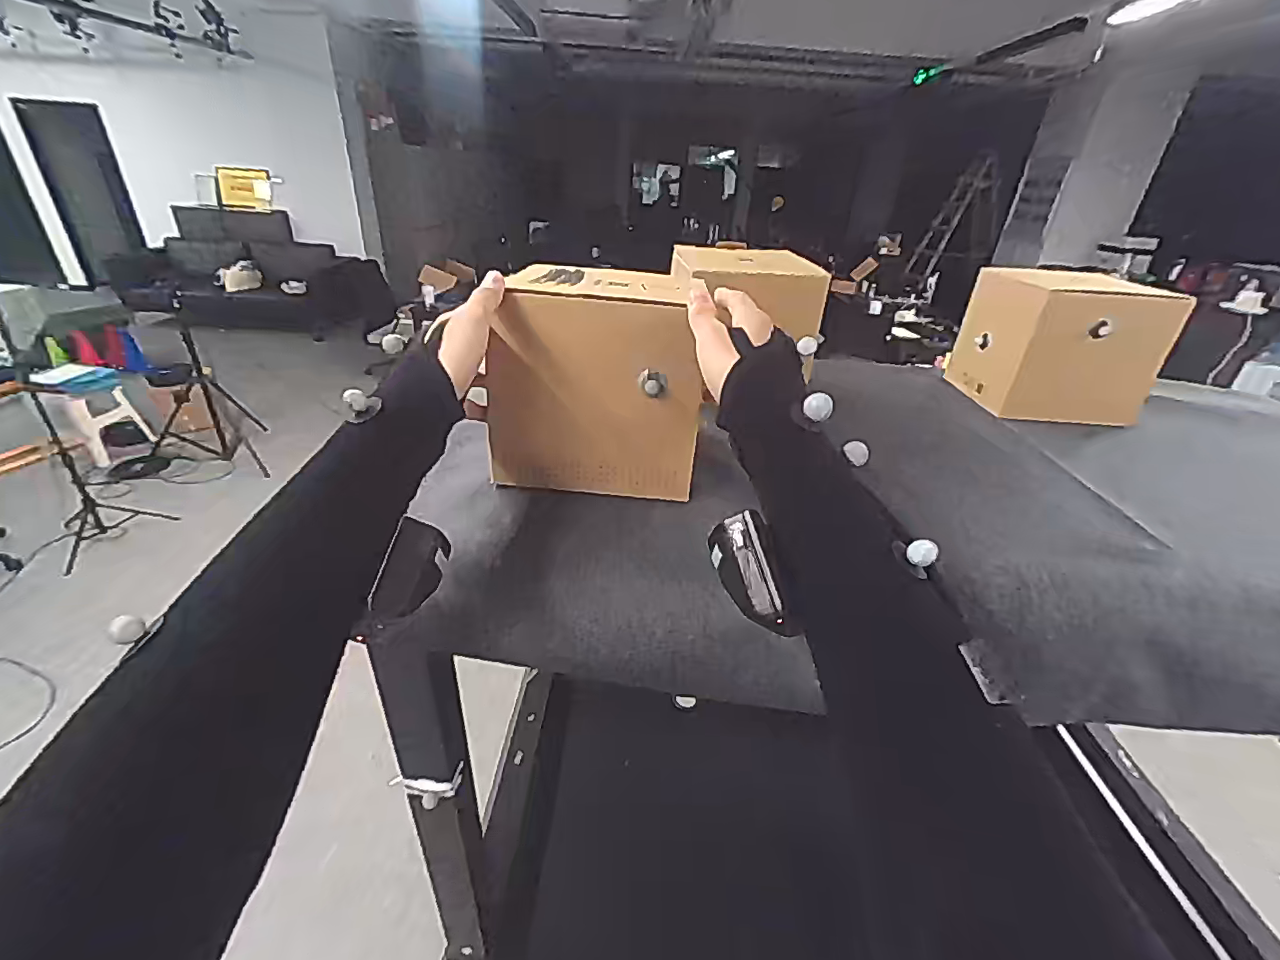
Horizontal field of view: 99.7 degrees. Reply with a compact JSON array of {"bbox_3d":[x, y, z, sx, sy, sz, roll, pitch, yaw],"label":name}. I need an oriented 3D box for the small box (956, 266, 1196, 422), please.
[{"bbox_3d":[0.564,-0.188,0.737,0.179,0.176,0.168,4,30,1],"label":"small box"}]

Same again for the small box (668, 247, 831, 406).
[{"bbox_3d":[0.131,-0.210,0.726,0.168,0.176,0.179,0,30,-4],"label":"small box"}]
